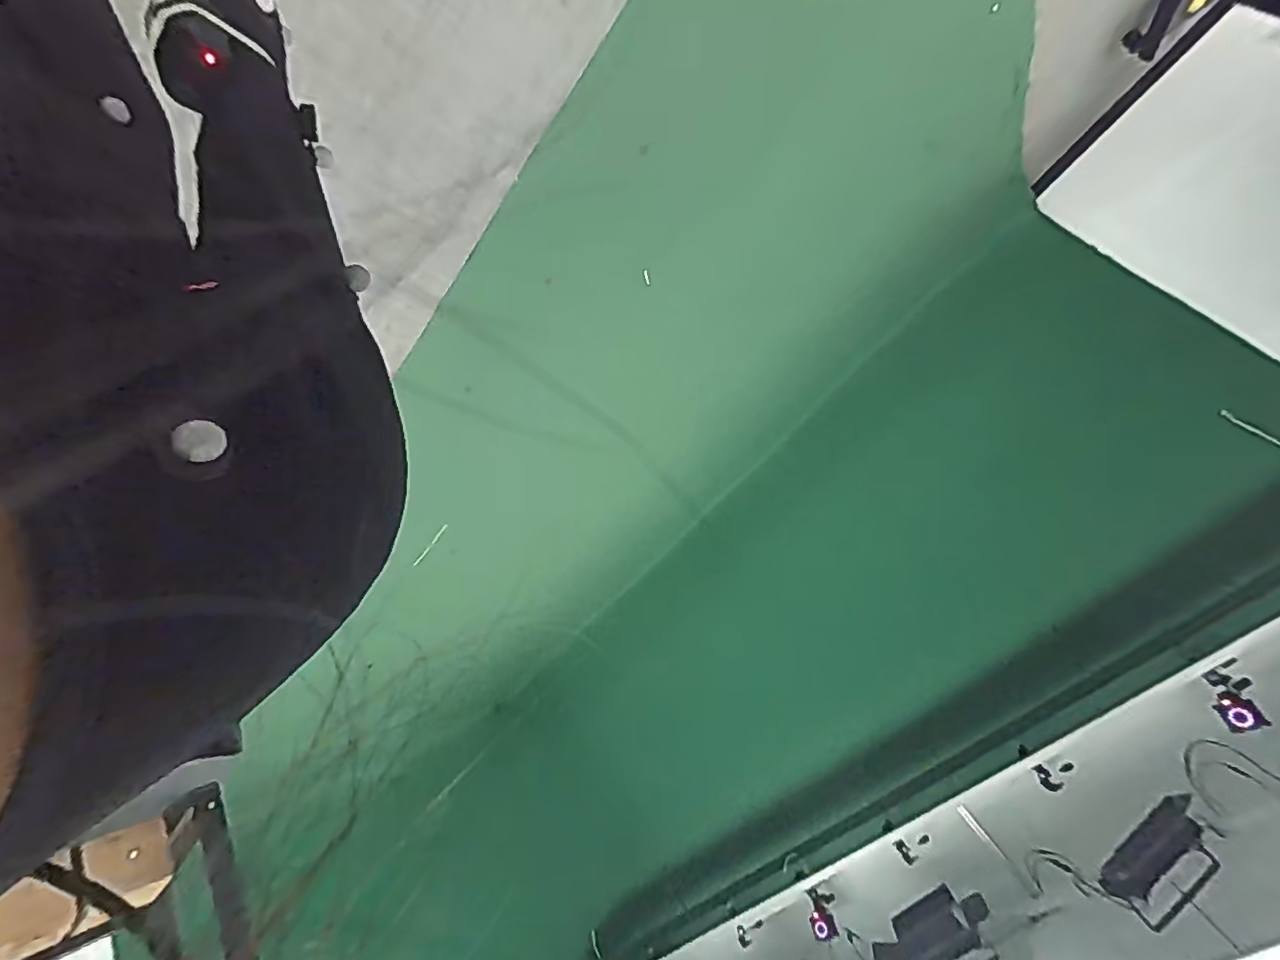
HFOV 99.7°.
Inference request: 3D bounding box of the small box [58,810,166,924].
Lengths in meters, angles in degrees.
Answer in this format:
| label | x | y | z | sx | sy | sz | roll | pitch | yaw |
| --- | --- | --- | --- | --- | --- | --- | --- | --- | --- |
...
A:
| label | x | y | z | sx | sy | sz | roll | pitch | yaw |
| --- | --- | --- | --- | --- | --- | --- | --- | --- | --- |
| small box | -1.424 | 1.027 | 1.454 | 0.179 | 0.176 | 0.168 | -45 | 154 | 20 |
